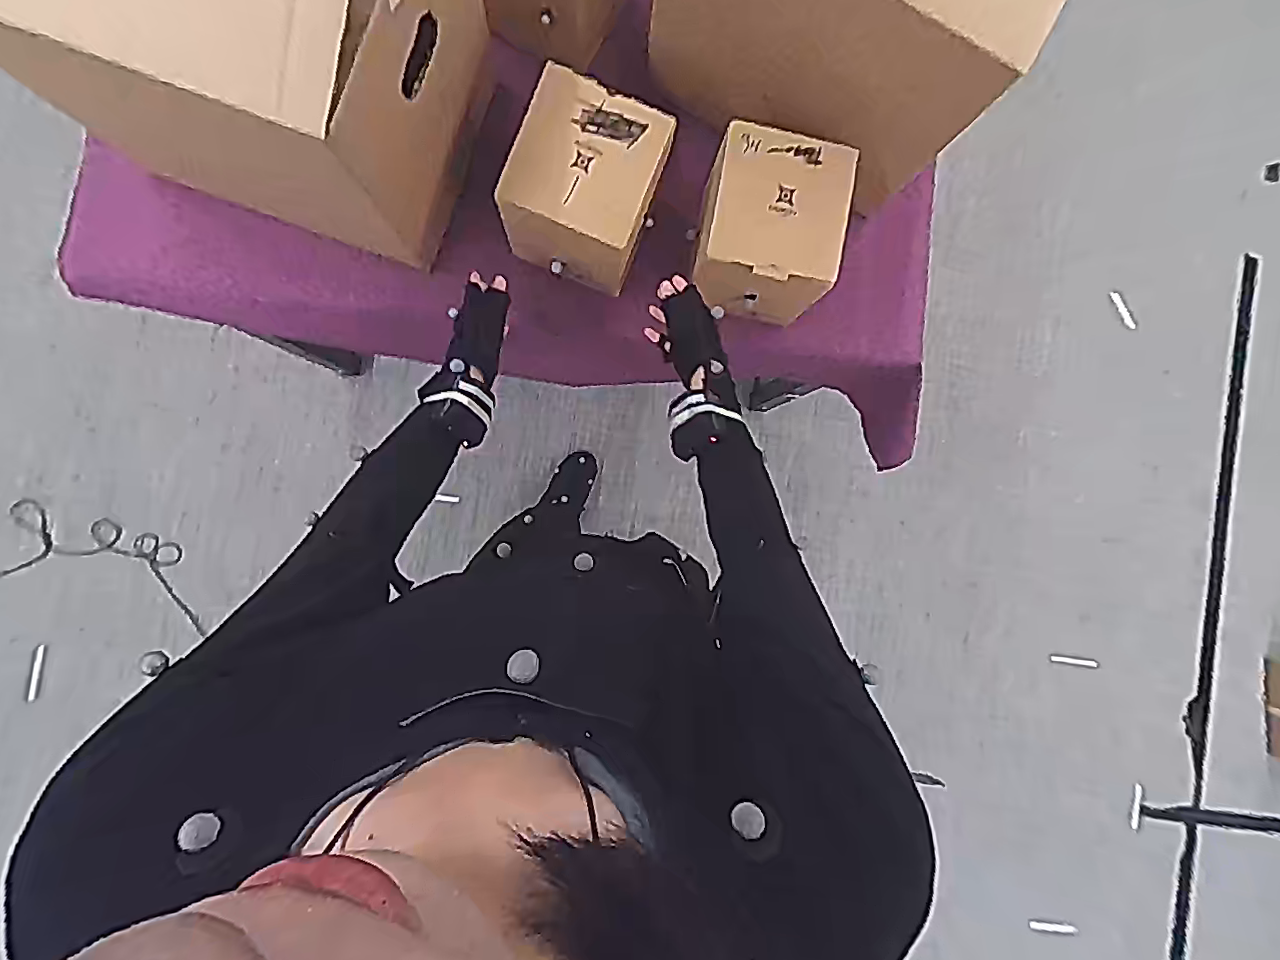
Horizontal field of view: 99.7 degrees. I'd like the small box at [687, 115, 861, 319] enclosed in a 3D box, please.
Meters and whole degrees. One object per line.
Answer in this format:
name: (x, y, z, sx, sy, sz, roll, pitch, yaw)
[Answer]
small box: (0.167, -0.335, 0.729, 0.168, 0.176, 0.179, 11, 89, -6)
